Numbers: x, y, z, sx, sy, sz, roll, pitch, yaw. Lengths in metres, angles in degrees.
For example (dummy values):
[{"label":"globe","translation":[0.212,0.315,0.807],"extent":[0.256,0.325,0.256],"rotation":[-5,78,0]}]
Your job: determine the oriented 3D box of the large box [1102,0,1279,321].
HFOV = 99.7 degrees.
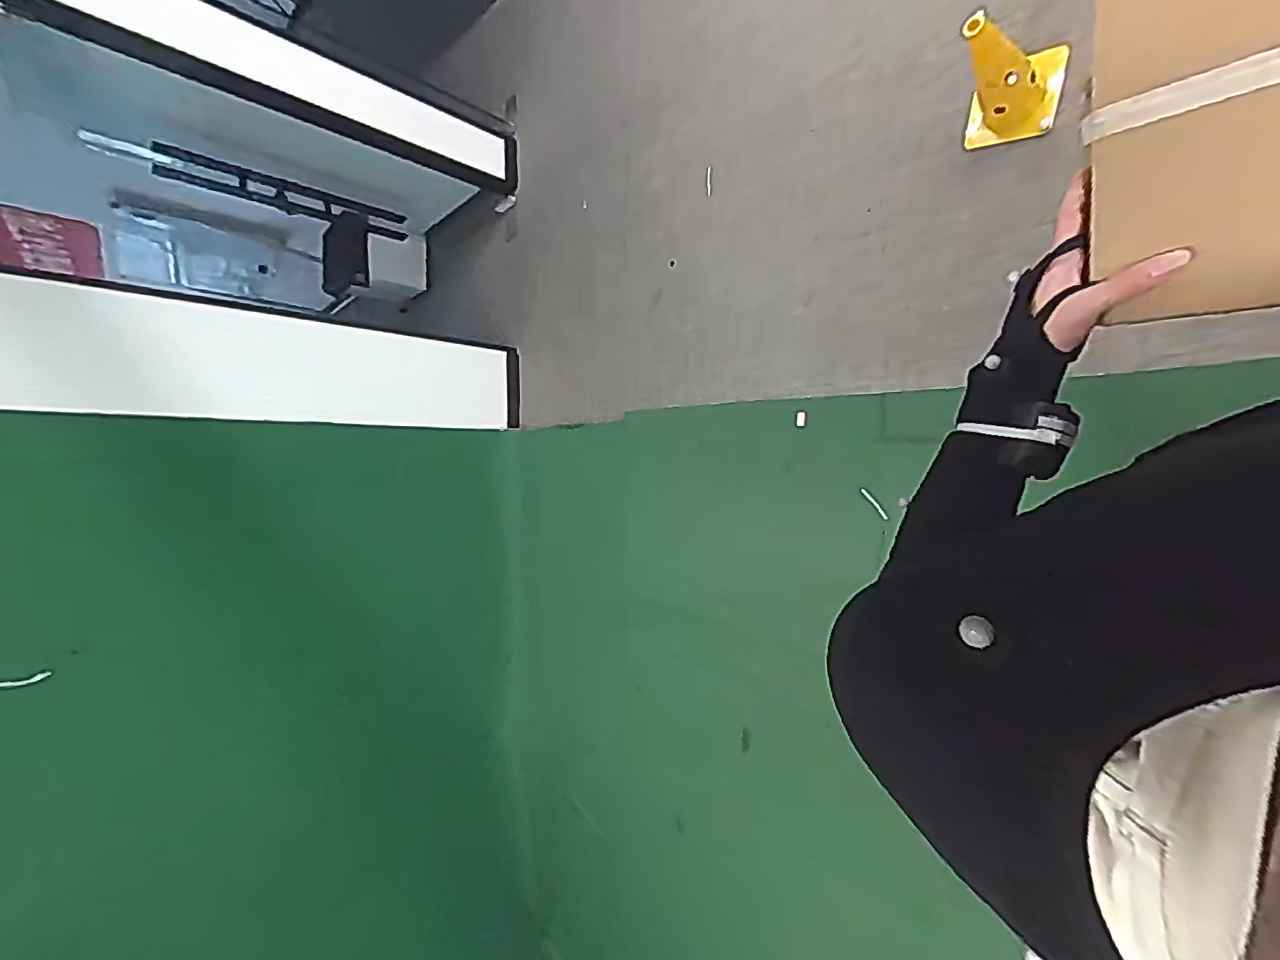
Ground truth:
[{"label":"large box","translation":[0.612,-0.310,0.385],"extent":[0.408,0.320,0.320],"rotation":[4,108,47]}]
